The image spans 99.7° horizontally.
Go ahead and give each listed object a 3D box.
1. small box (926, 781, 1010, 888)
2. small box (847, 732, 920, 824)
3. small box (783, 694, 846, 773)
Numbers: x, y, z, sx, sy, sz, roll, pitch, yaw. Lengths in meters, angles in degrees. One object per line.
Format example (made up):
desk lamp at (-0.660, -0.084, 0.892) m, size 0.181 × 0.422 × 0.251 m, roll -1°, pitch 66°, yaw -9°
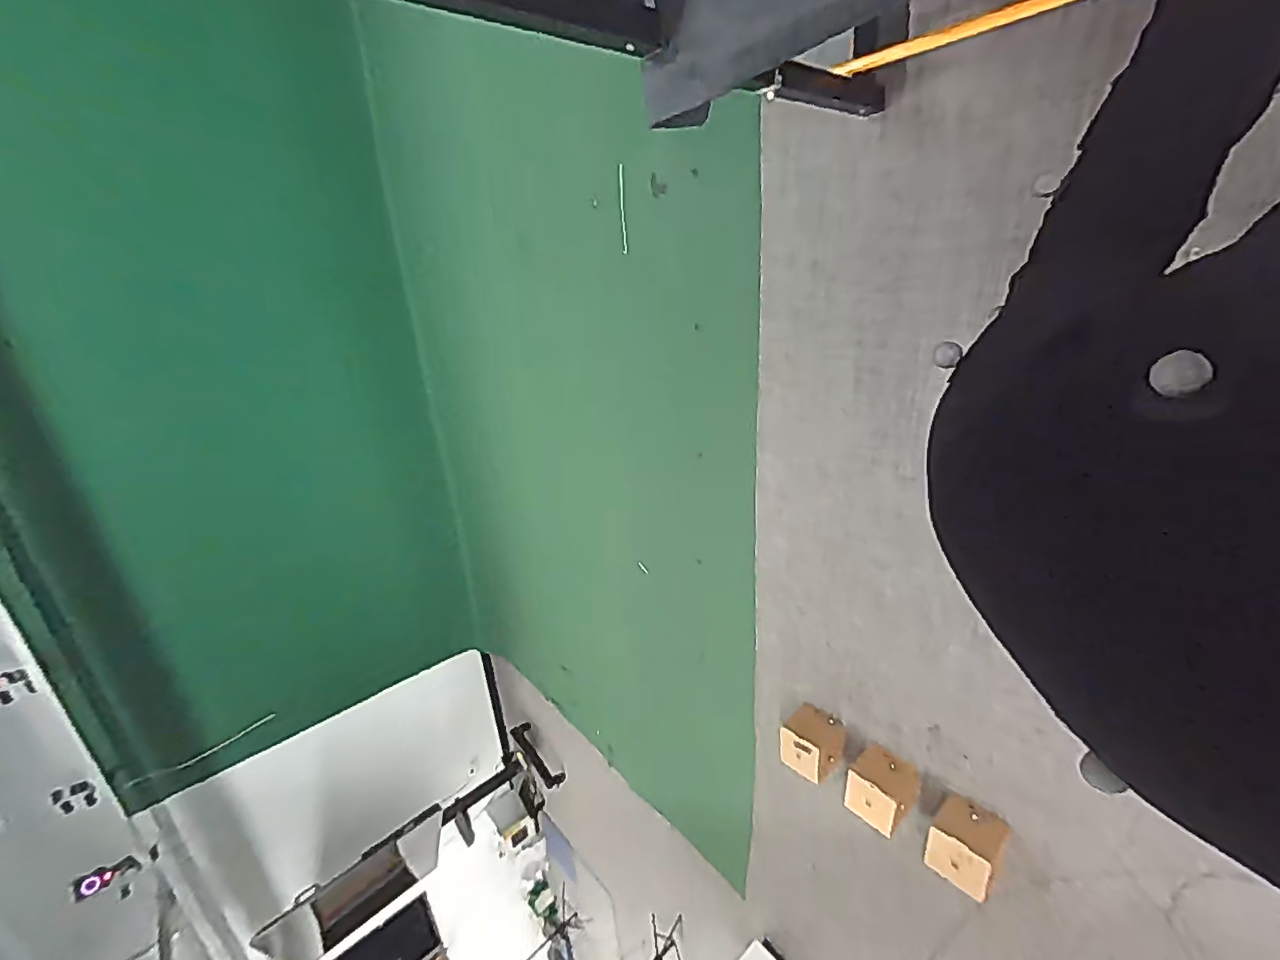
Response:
small box at (1.010, 1.082, 1.662) m, size 0.168 × 0.176 × 0.179 m, roll 19°, pitch 121°, yaw 46°
small box at (0.838, 1.017, 1.858) m, size 0.168 × 0.176 × 0.179 m, roll 22°, pitch 123°, yaw 46°
small box at (0.664, 0.953, 2.052) m, size 0.168 × 0.176 × 0.179 m, roll 18°, pitch 121°, yaw 47°
